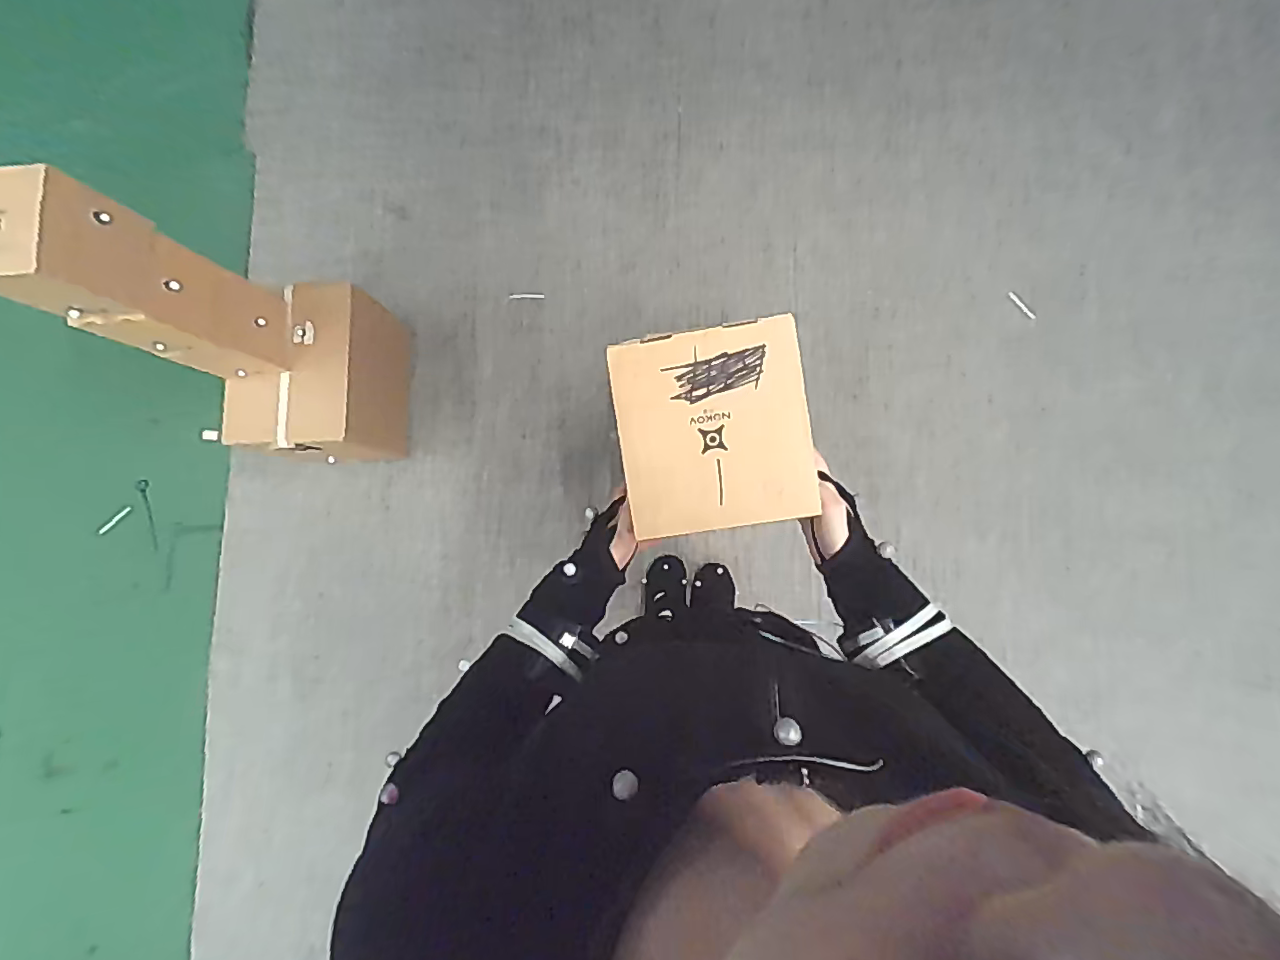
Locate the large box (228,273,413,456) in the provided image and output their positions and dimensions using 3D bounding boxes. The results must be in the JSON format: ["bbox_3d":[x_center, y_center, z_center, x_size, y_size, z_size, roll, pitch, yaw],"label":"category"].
[{"bbox_3d":[-0.835,-0.287,1.459,0.320,0.320,0.408,-1,84,4],"label":"large box"}]

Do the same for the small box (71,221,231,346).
[{"bbox_3d":[-0.950,-0.379,1.066,0.168,0.176,0.179,-2,86,7],"label":"small box"}]

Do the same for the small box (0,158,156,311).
[{"bbox_3d":[-0.964,-0.400,0.904,0.168,0.176,0.179,0,86,8],"label":"small box"}]

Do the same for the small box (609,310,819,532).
[{"bbox_3d":[0.070,-0.052,0.548,0.168,0.176,0.179,-8,92,7],"label":"small box"}]
